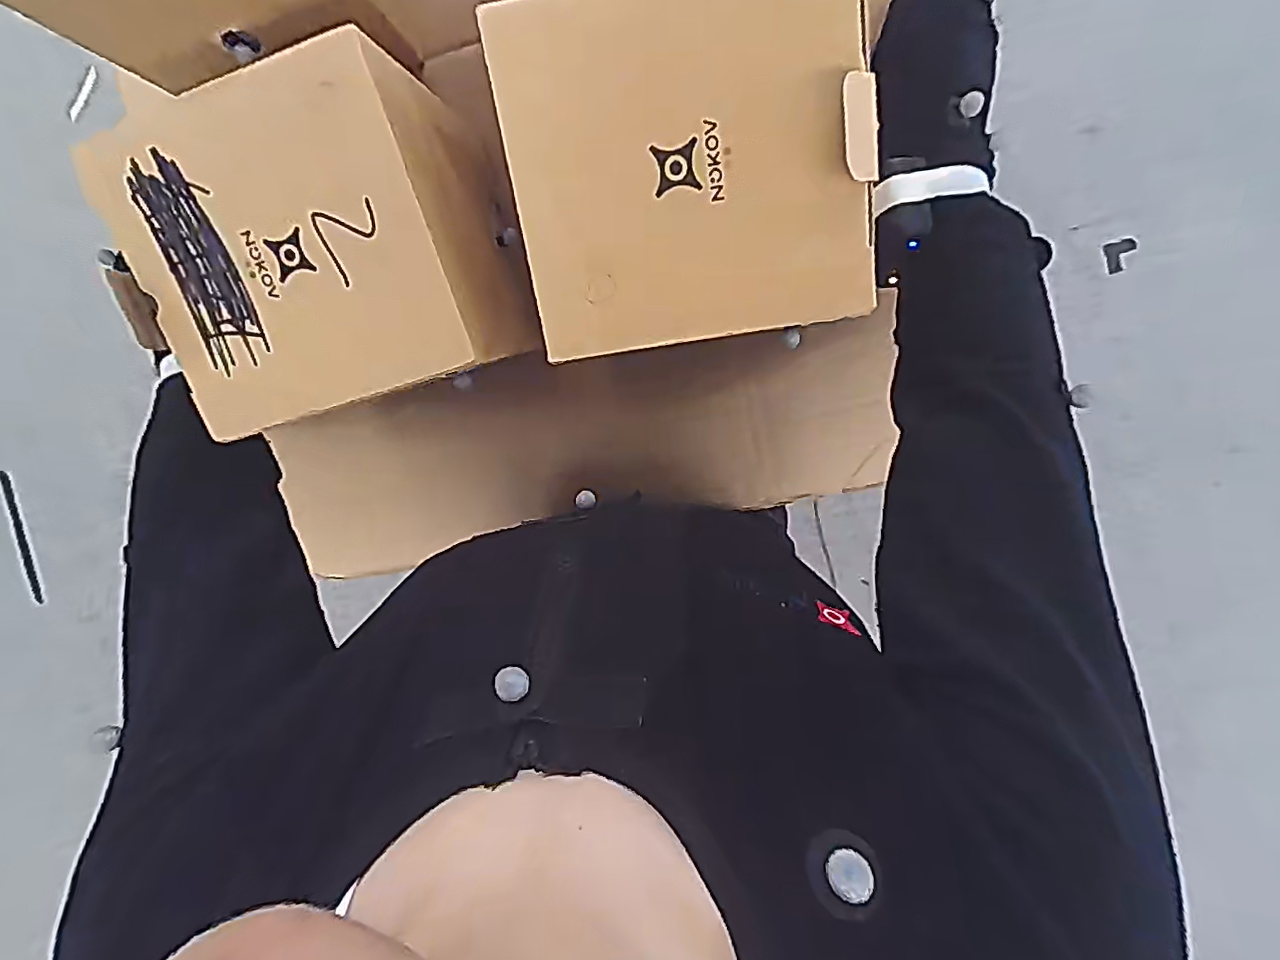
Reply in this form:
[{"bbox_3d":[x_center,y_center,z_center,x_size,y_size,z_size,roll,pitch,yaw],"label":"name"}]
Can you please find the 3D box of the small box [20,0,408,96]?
[{"bbox_3d":[-0.273,-0.373,0.327,0.168,0.176,0.179,-12,100,9],"label":"small box"}]
